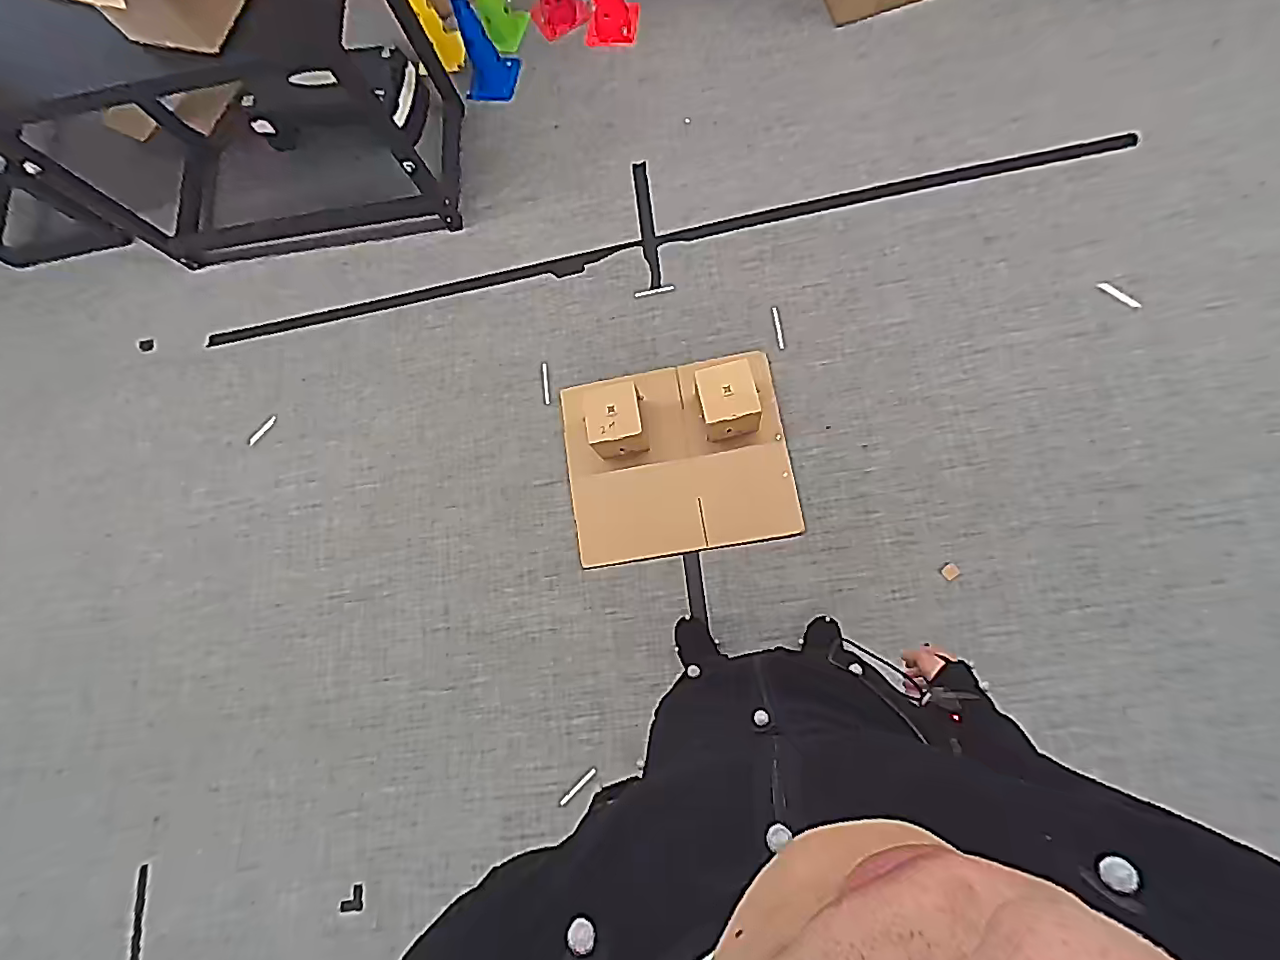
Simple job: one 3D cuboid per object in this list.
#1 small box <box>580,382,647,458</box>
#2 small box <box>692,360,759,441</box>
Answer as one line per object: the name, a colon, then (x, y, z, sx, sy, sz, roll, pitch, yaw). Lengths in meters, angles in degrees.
small box: (-0.080, -0.182, 1.688, 0.168, 0.176, 0.179, -11, 77, 7)
small box: (0.258, -0.239, 1.657, 0.168, 0.176, 0.179, -14, 76, 5)
